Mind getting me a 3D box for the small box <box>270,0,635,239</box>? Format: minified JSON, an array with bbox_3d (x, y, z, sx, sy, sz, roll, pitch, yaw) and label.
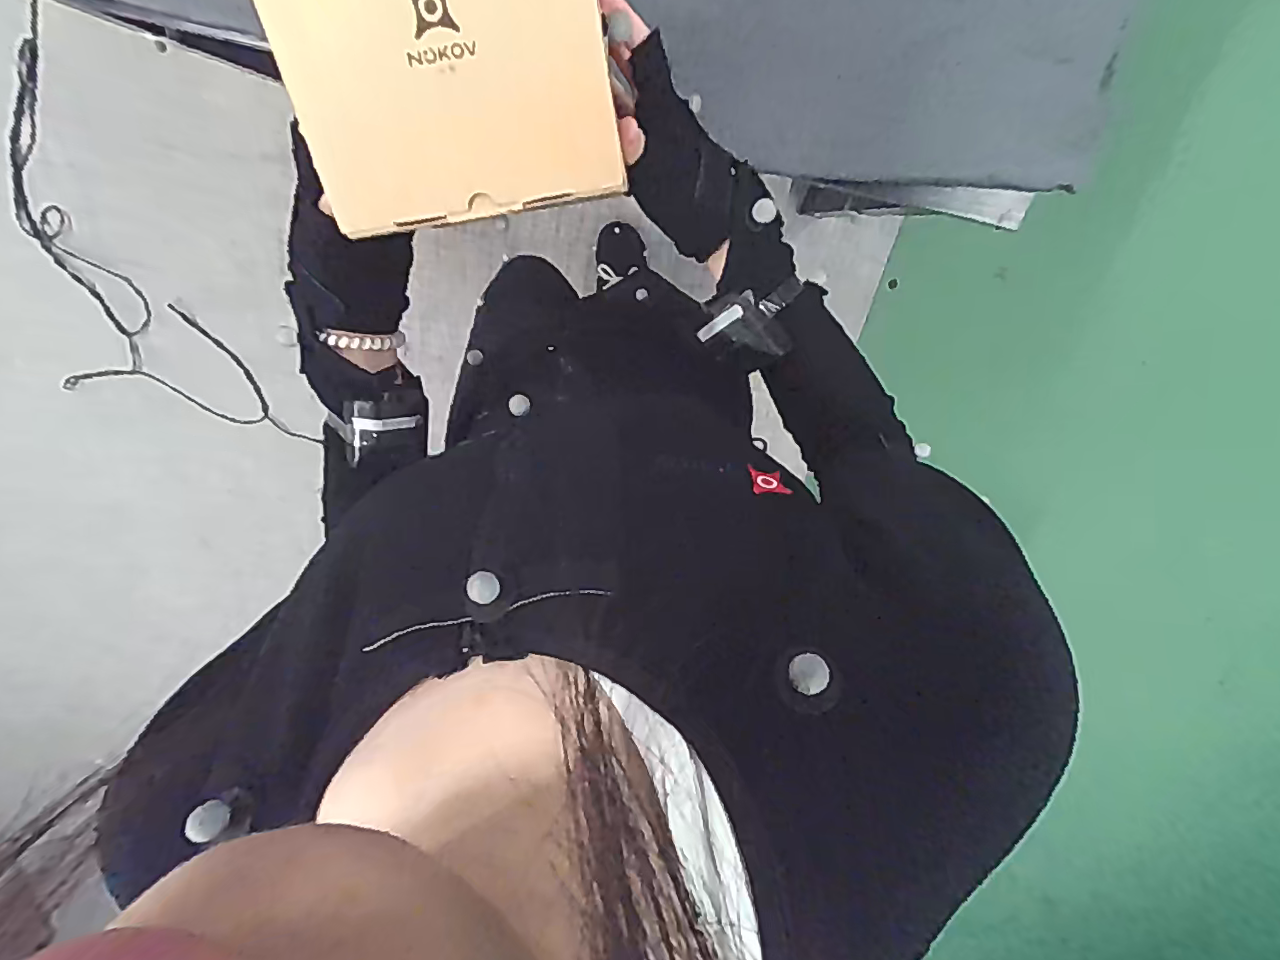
[{"bbox_3d":[-0.101,-0.262,0.340,0.168,0.176,0.179,-10,119,1],"label":"small box"}]
